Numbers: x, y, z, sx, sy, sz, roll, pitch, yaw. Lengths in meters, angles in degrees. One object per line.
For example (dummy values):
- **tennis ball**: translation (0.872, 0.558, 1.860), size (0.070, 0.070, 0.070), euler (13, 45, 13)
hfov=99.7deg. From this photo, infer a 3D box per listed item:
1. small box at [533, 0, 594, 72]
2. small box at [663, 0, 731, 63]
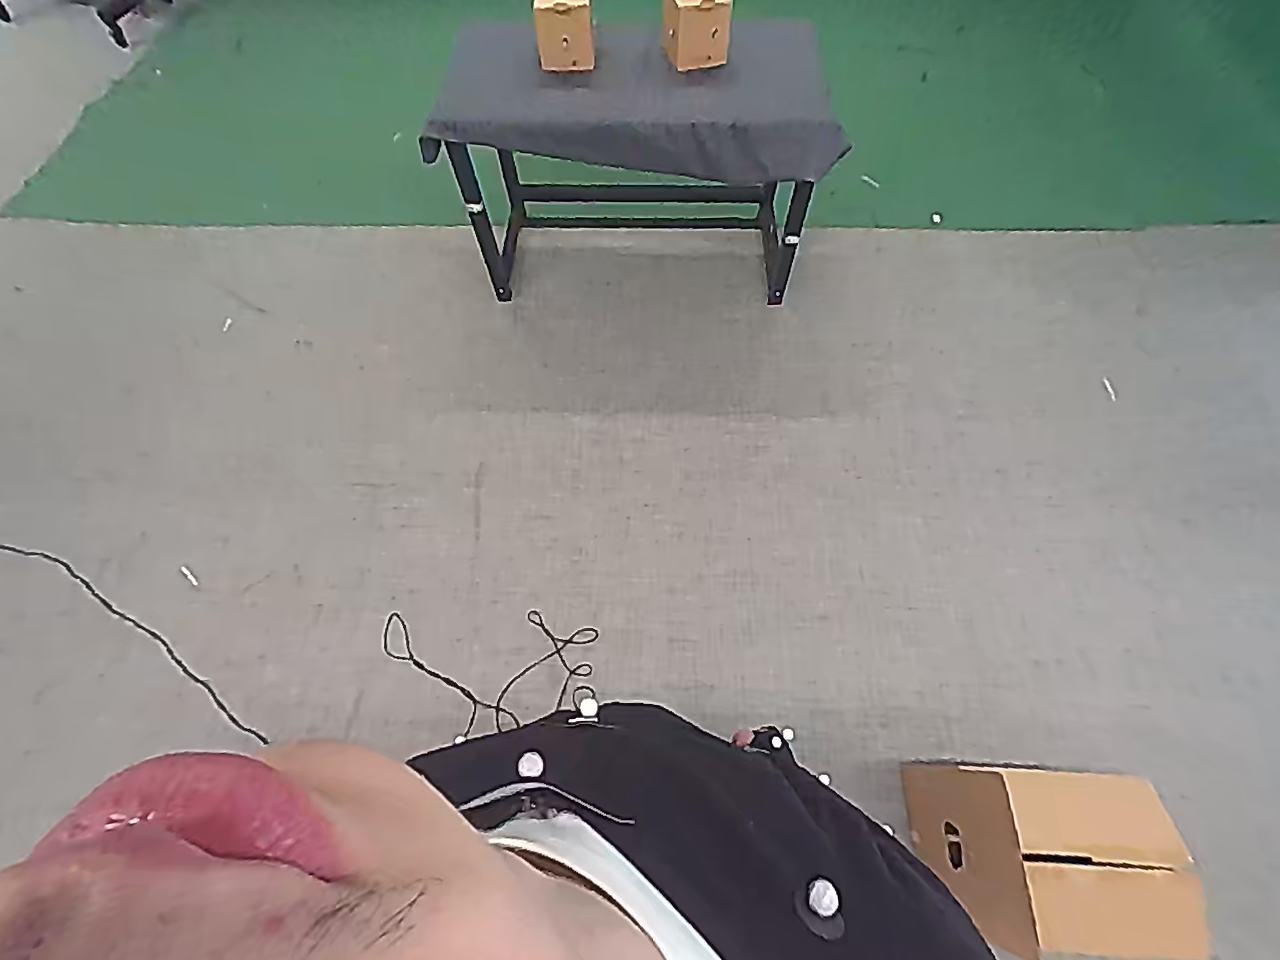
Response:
- **small box**: translation (-0.234, -1.407, 1.686), size (0.168, 0.176, 0.179), euler (-4, 62, 0)
- **small box**: translation (0.170, -1.419, 1.665), size (0.168, 0.176, 0.179), euler (-10, 63, -7)
